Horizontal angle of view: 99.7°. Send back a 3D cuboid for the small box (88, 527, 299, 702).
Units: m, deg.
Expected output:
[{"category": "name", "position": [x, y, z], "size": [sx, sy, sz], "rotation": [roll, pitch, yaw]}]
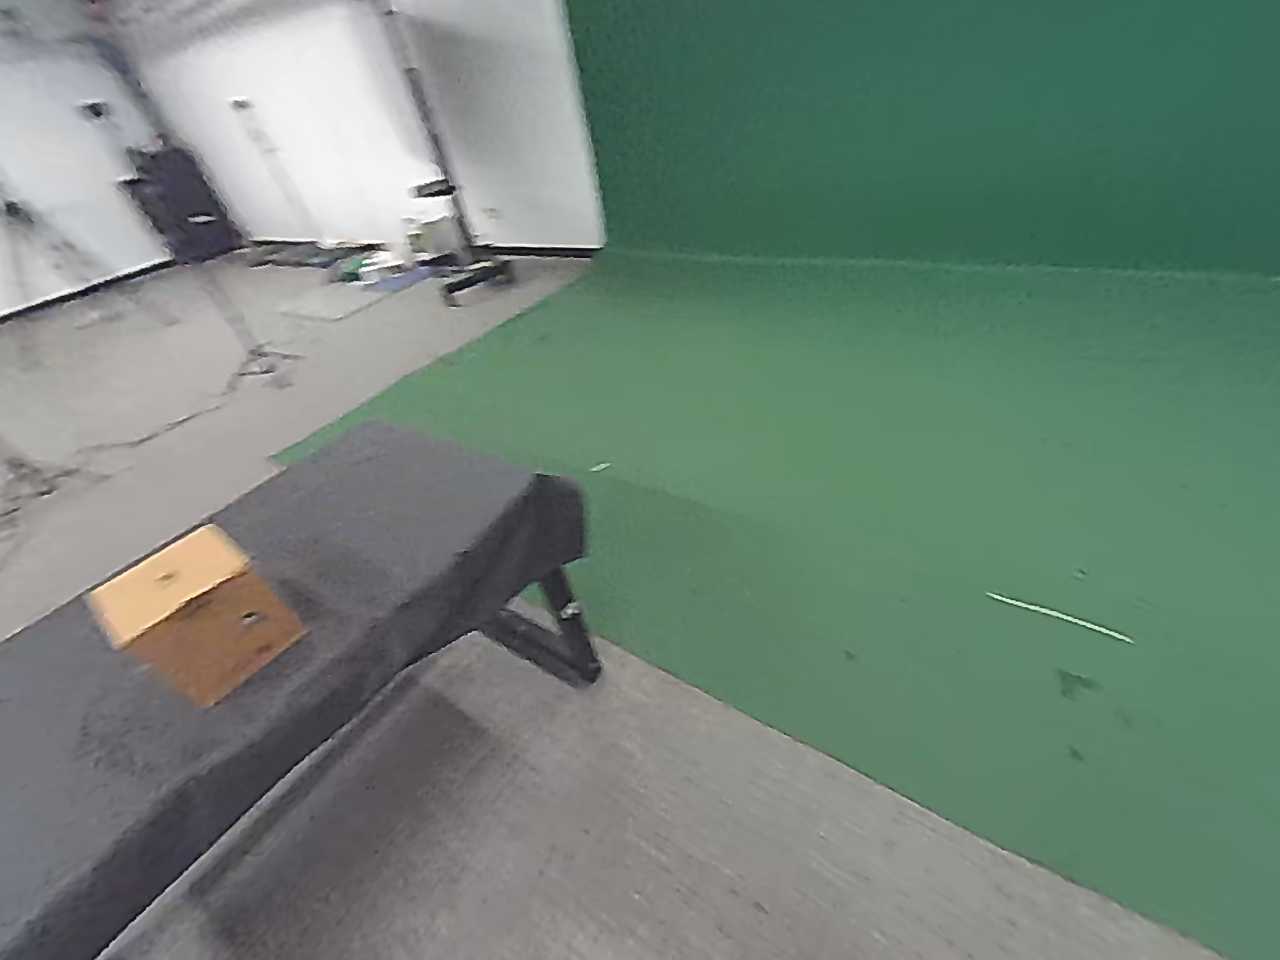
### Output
[{"category": "small box", "position": [-0.668, 0.206, 0.825], "size": [0.179, 0.176, 0.168], "rotation": [18, 46, 34]}]
